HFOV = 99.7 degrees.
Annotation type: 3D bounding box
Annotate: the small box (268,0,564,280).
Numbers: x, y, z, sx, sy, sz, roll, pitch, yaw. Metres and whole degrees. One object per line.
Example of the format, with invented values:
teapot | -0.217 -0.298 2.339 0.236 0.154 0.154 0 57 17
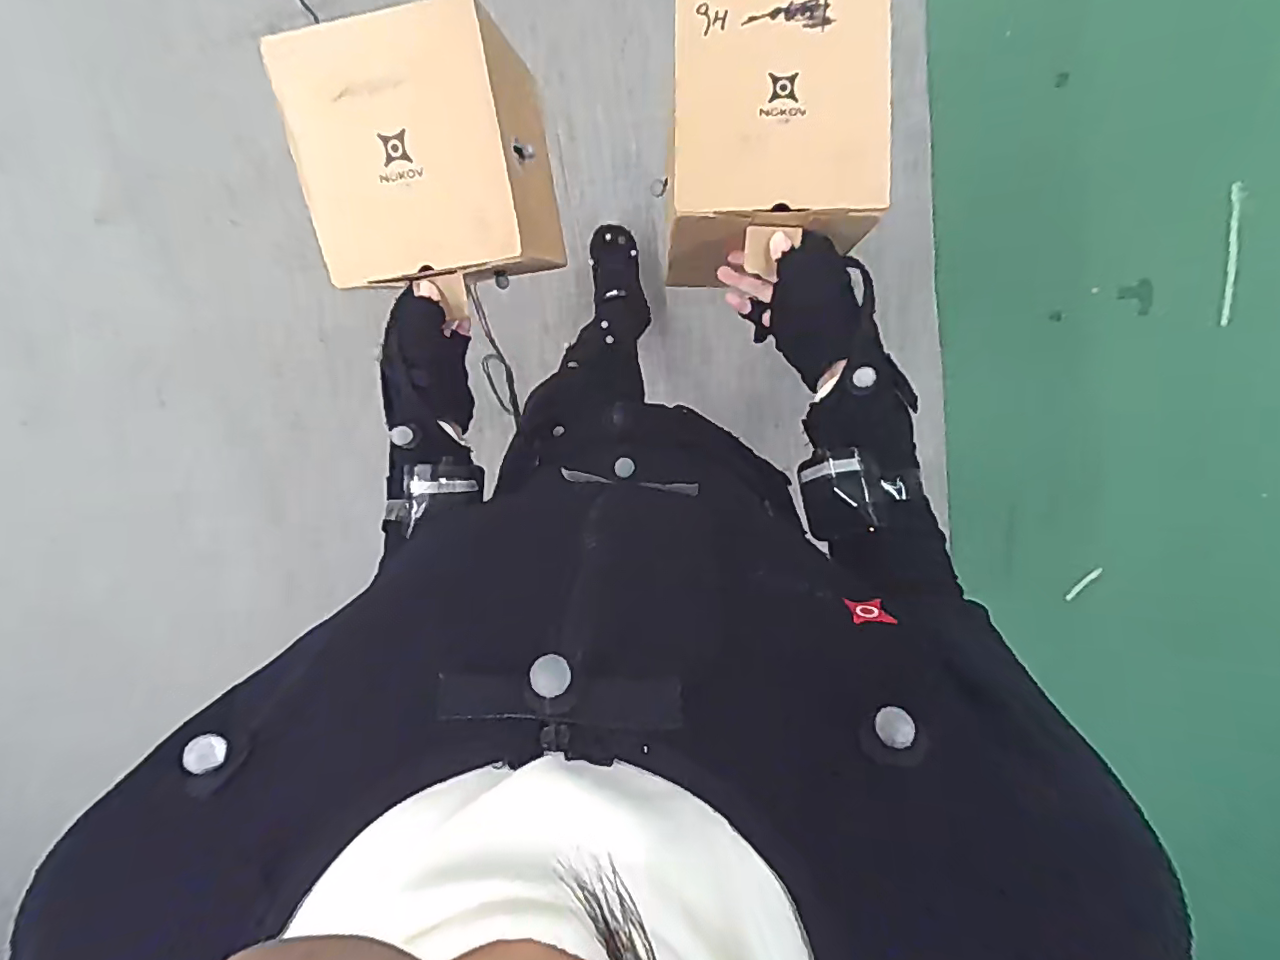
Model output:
small box | -0.177 -0.286 0.492 0.168 0.176 0.179 -7 109 8
